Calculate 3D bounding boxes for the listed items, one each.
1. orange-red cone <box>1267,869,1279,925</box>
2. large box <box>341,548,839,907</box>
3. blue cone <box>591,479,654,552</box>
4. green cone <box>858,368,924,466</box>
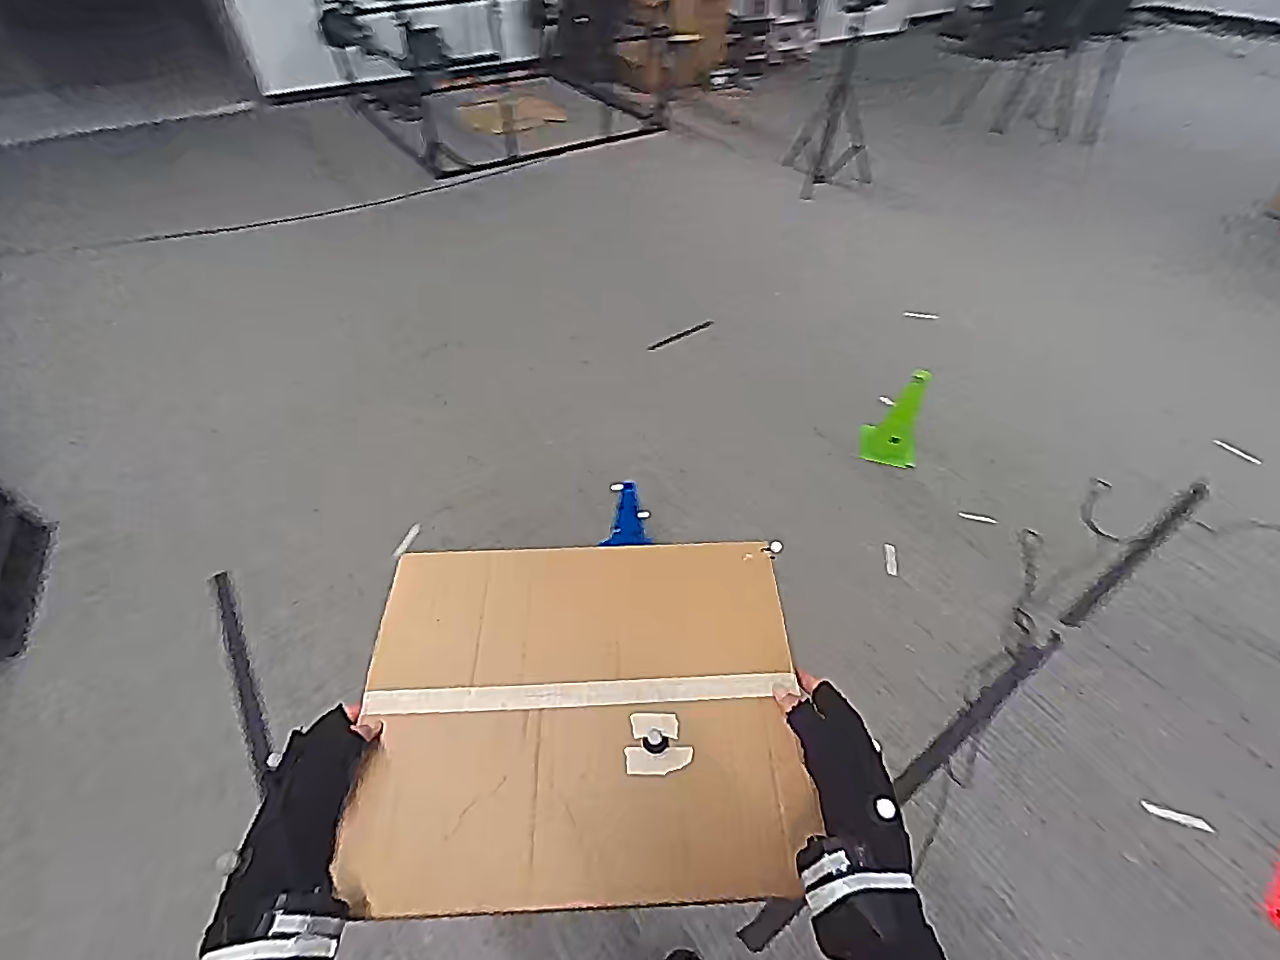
[{"bbox_3d":[1.489,0.836,1.032,0.199,0.360,0.198,-29,56,-26],"label":"orange-red cone"},{"bbox_3d":[-0.044,0.291,0.632,0.408,0.320,0.320,0,54,-1],"label":"large box"},{"bbox_3d":[-0.047,0.141,1.633,0.193,0.380,0.192,-25,52,-21],"label":"blue cone"},{"bbox_3d":[0.957,-0.253,1.978,0.202,0.368,0.200,12,49,12],"label":"green cone"}]
